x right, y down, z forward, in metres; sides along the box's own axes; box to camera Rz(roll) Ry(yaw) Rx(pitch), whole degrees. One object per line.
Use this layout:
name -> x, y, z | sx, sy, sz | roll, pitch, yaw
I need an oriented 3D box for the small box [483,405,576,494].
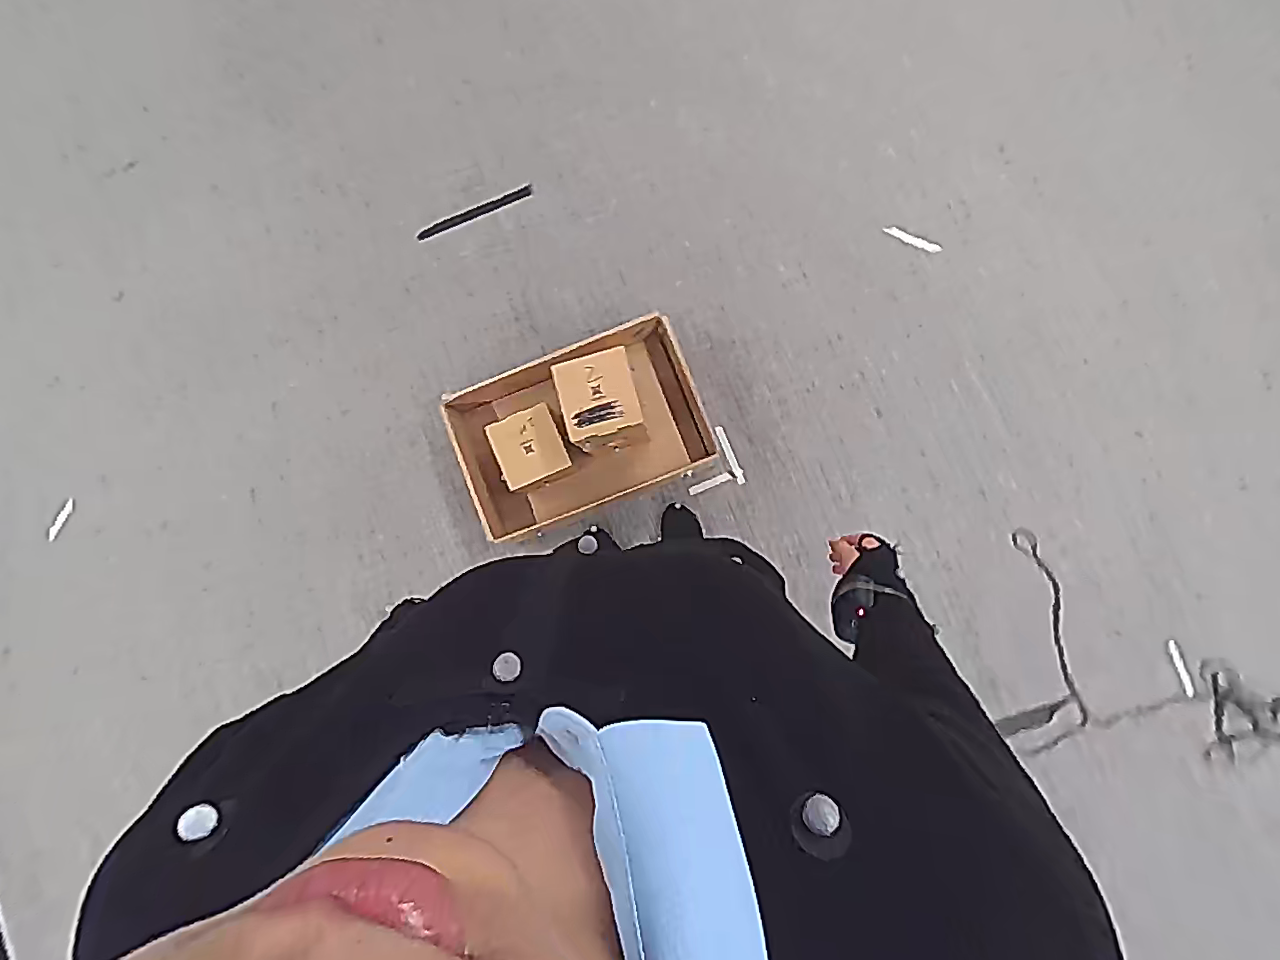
small box -> -0.277, -0.071, 1.400 | 0.168, 0.176, 0.179 | -24, 86, -2
